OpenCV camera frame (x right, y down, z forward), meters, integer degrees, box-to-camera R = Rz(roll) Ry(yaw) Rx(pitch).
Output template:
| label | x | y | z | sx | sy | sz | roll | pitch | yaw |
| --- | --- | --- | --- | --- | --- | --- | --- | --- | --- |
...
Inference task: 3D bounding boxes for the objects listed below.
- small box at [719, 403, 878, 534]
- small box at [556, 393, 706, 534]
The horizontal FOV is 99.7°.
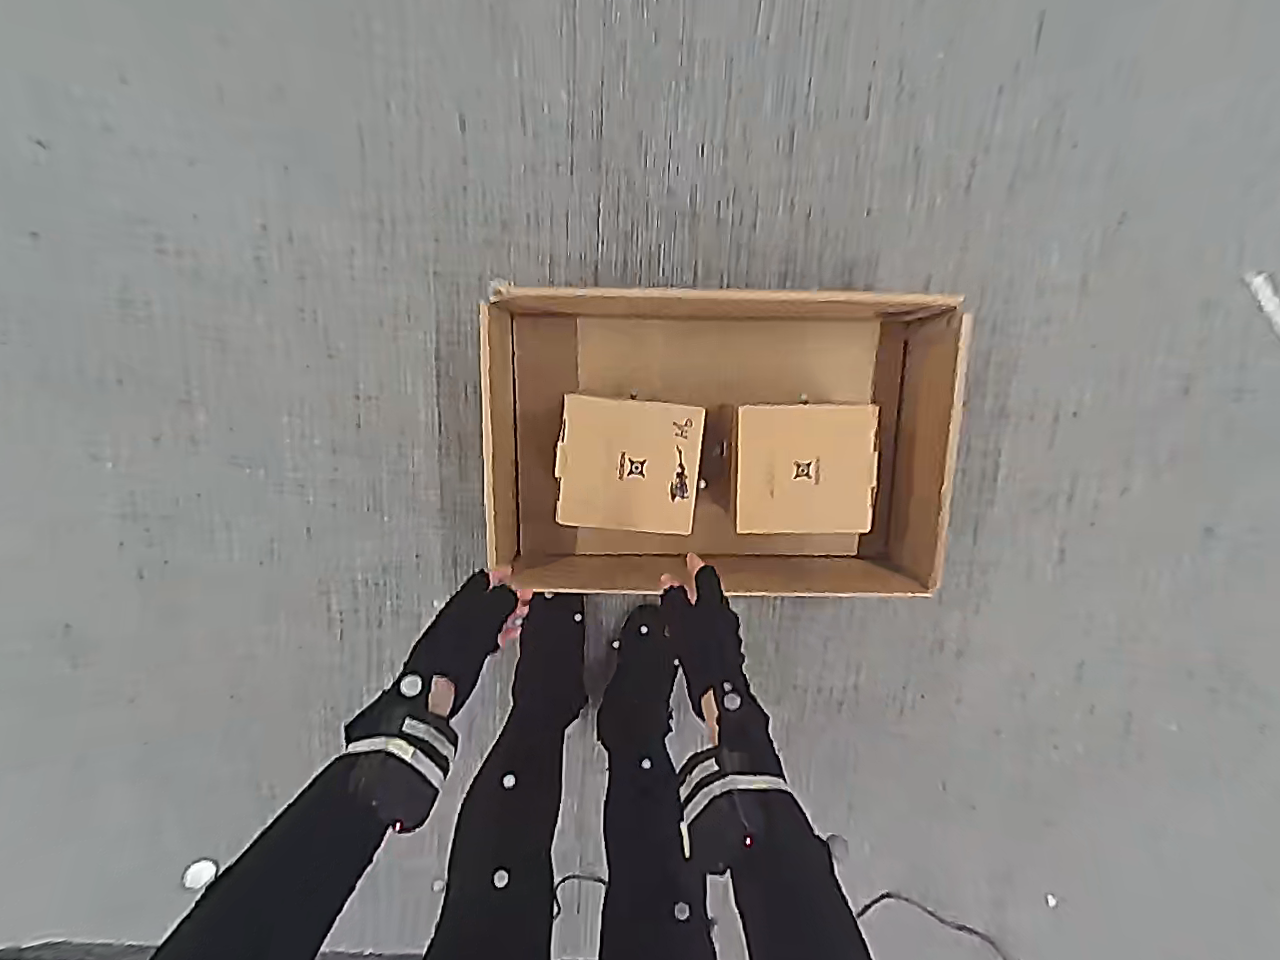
| label | x | y | z | sx | sy | sz | roll | pitch | yaw |
| --- | --- | --- | --- | --- | --- | --- | --- | --- | --- |
| small box | 0.211 | -0.024 | 0.763 | 0.179 | 0.176 | 0.168 | -1 | 98 | 1 |
| small box | -0.014 | -0.031 | 0.756 | 0.179 | 0.176 | 0.168 | 5 | 99 | -2 |
